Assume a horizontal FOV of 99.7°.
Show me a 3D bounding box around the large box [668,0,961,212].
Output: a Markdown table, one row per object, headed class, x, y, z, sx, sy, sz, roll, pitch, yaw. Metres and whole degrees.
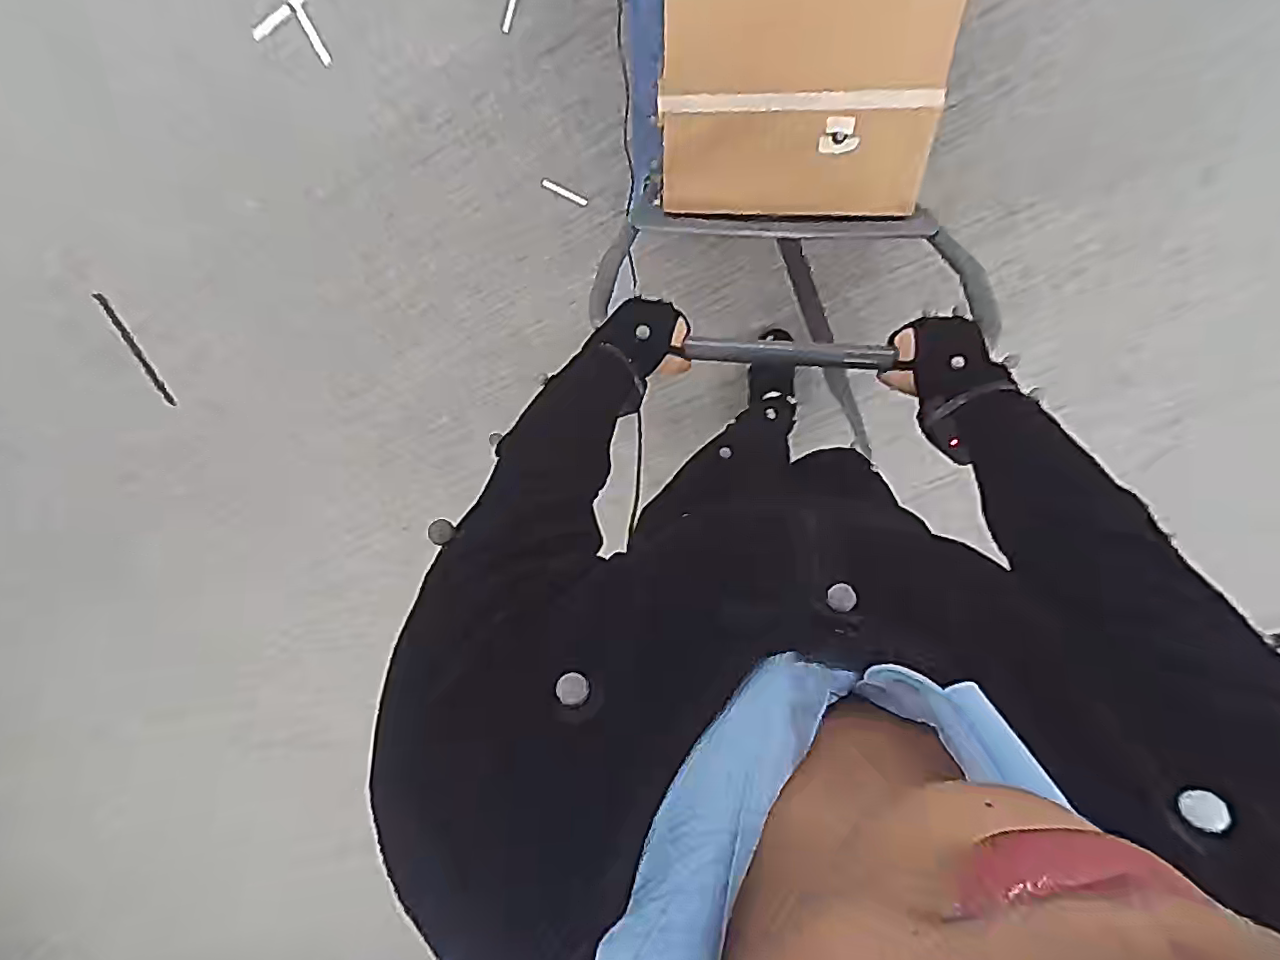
| class | x | y | z | sx | sy | sz | roll | pitch | yaw |
| --- | --- | --- | --- | --- | --- | --- | --- | --- | --- |
| large box | 0.260 | -0.661 | 0.934 | 0.408 | 0.320 | 0.320 | 4 | 127 | 7 |
